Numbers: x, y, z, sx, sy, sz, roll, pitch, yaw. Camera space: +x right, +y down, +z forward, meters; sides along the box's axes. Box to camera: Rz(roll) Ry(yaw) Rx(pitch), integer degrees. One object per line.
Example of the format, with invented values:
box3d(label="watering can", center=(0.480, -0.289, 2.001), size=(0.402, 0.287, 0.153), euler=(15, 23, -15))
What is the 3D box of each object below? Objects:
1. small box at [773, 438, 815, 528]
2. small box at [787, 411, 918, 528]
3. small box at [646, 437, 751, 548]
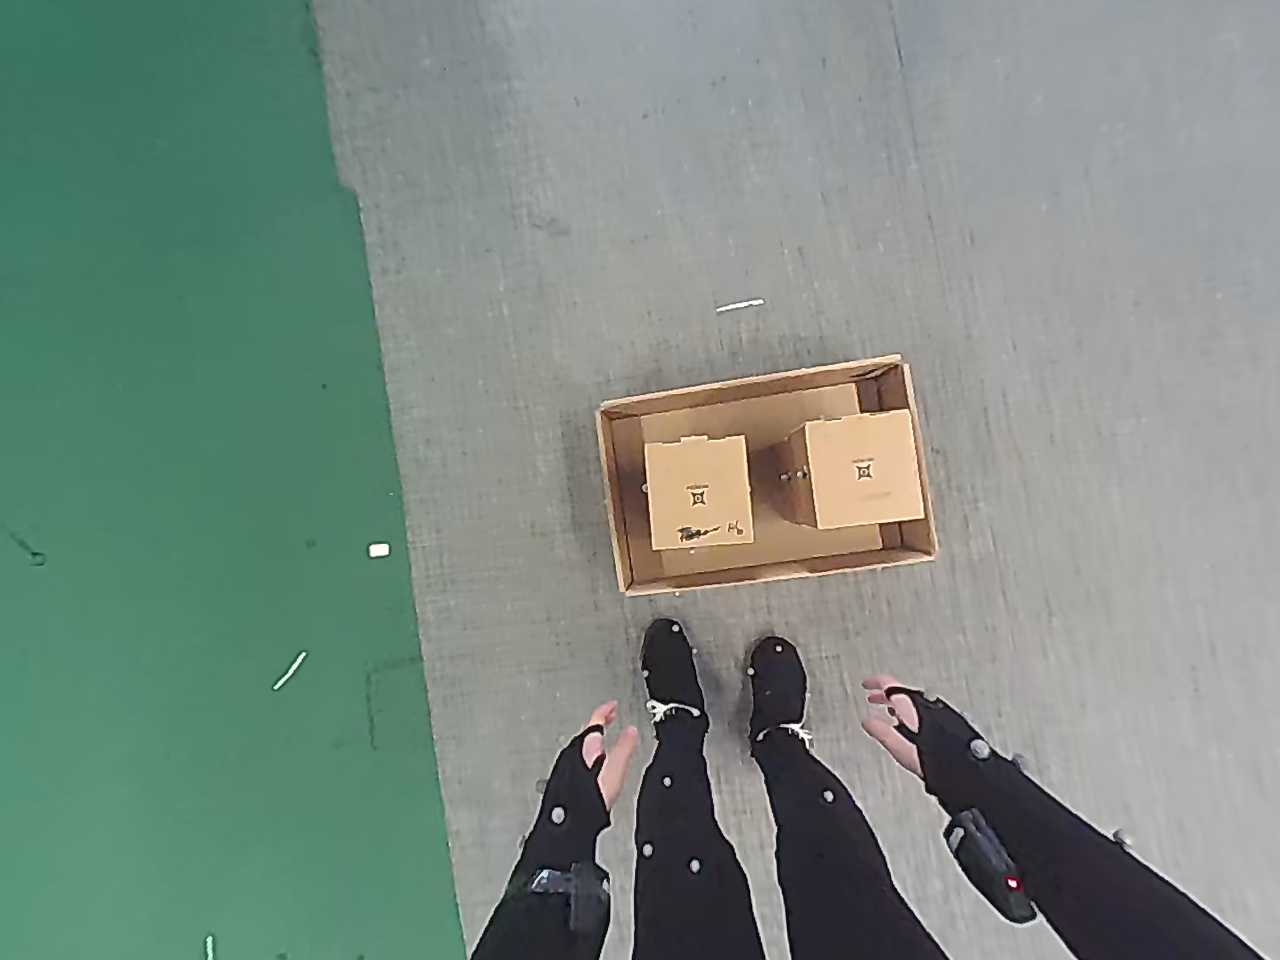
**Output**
box3d(label="small box", center=(0.377, -0.004, 1.107), size=(0.168, 0.176, 0.179), euler=(-9, 88, 5))
box3d(label="small box", center=(0.359, -0.013, 0.945), size=(0.168, 0.176, 0.179), euler=(-7, 88, 6))
box3d(label="small box", center=(0.100, 0.025, 0.961), size=(0.168, 0.176, 0.179), euler=(-4, 87, 5))
